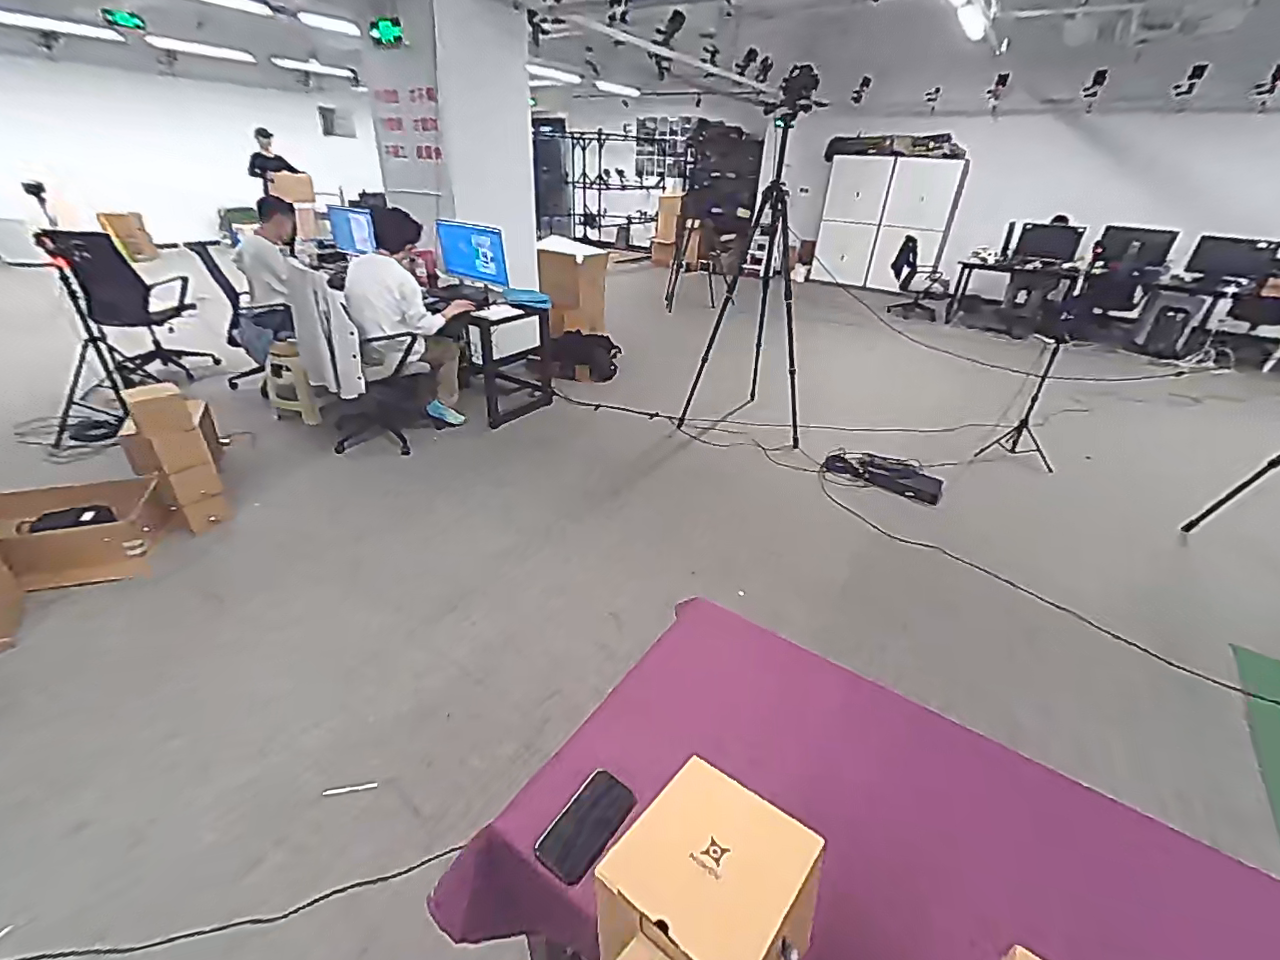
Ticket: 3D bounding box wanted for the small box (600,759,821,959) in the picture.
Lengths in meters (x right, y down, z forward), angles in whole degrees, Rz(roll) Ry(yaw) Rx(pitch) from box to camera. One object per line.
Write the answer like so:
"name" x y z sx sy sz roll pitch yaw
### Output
"small box" 0.073 0.457 0.580 0.168 0.176 0.179 17 28 37
